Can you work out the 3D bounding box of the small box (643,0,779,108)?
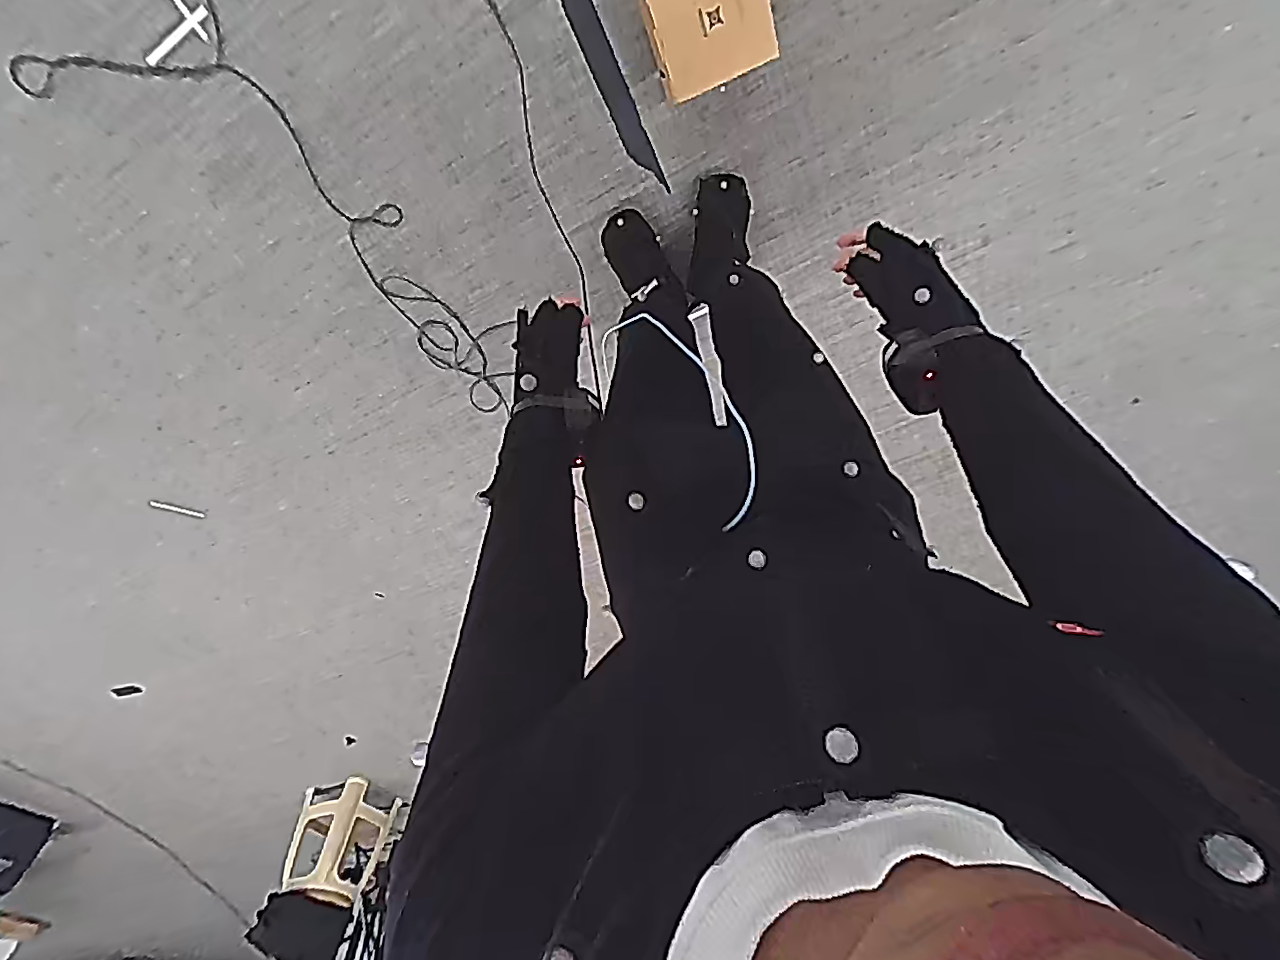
[{"bbox_3d":[0.110,-0.738,0.885,0.179,0.176,0.168,-19,126,11],"label":"small box"}]
